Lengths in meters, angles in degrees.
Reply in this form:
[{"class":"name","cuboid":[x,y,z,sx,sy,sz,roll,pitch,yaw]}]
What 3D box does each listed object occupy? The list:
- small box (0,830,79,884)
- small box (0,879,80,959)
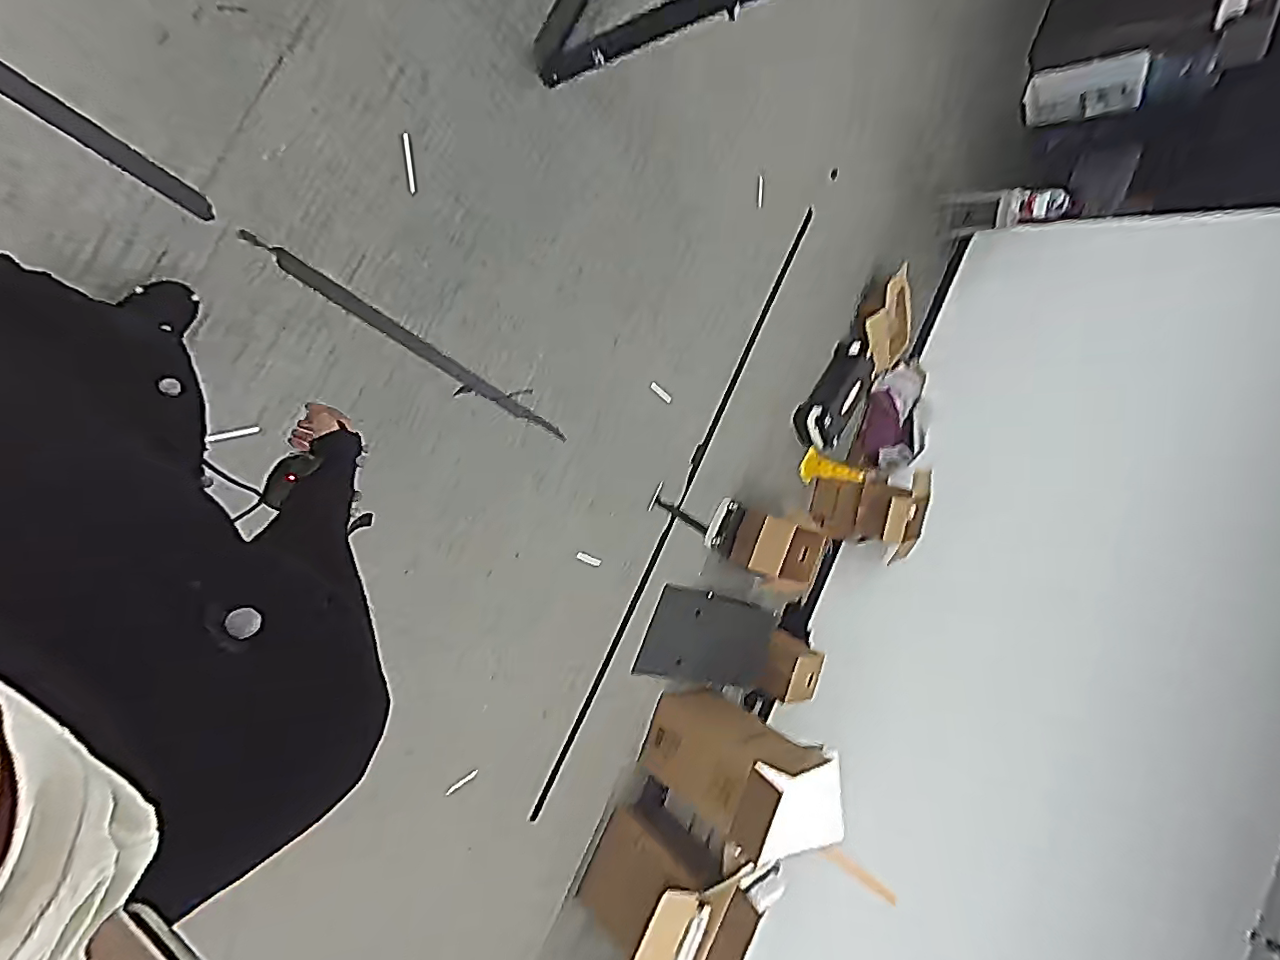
[{"class":"small box","cuboid":[-1.396,0.901,1.188,0.168,0.176,0.179,37,77,-47]},{"class":"small box","cuboid":[-1.278,0.952,1.084,0.168,0.176,0.179,38,76,-47]}]
